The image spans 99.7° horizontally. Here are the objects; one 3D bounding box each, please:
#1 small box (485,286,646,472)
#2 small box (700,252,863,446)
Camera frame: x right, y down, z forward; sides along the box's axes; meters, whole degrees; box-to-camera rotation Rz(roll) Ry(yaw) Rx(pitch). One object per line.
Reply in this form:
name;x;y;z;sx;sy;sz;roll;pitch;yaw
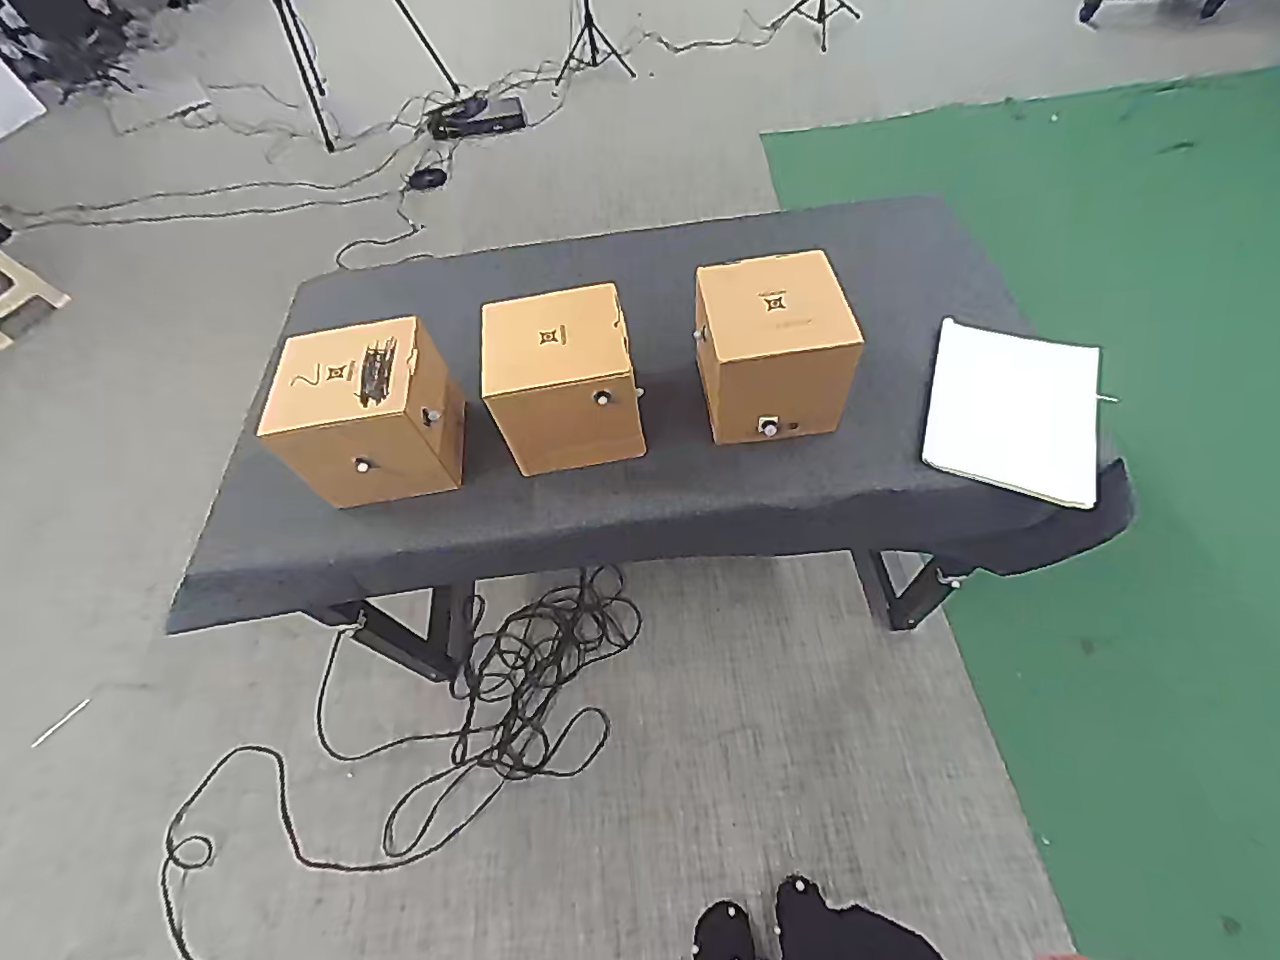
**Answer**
small box;-0.095;-0.129;0.728;0.179;0.176;0.168;-10;56;-1
small box;0.173;-0.170;0.723;0.168;0.176;0.179;-8;57;3
